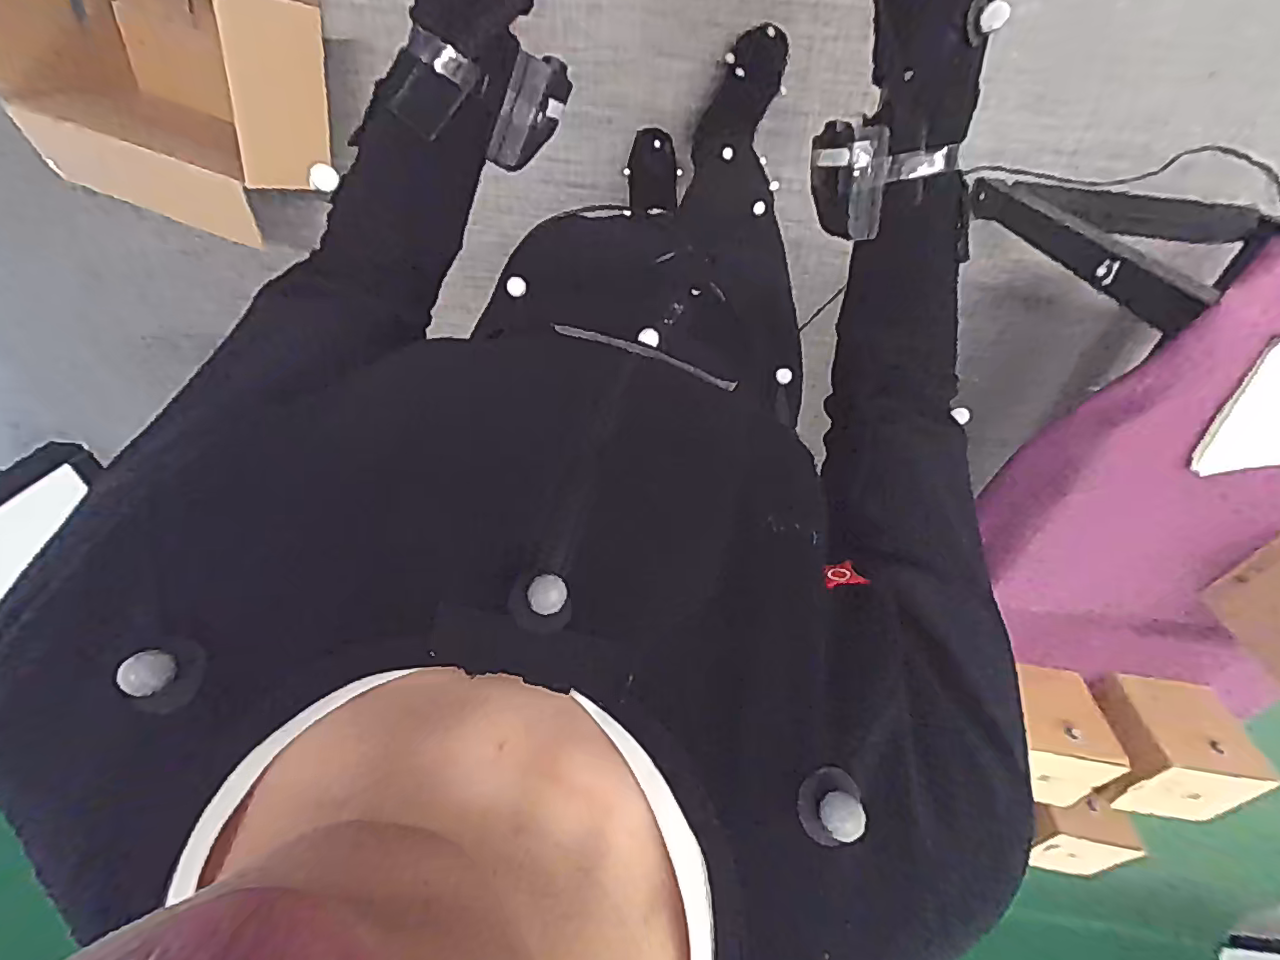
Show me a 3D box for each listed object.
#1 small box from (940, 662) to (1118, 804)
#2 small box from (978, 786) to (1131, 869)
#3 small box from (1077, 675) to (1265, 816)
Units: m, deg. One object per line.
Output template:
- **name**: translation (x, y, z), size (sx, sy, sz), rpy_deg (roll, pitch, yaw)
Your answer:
- **small box**: translation (0.686, 0.456, 0.985), size (0.179, 0.176, 0.168), rpy_deg (11, 129, -1)
- **small box**: translation (0.878, 0.712, 1.171), size (0.179, 0.176, 0.168), rpy_deg (12, 129, -3)
- **small box**: translation (0.910, 0.473, 0.971), size (0.179, 0.176, 0.168), rpy_deg (9, 130, 1)
